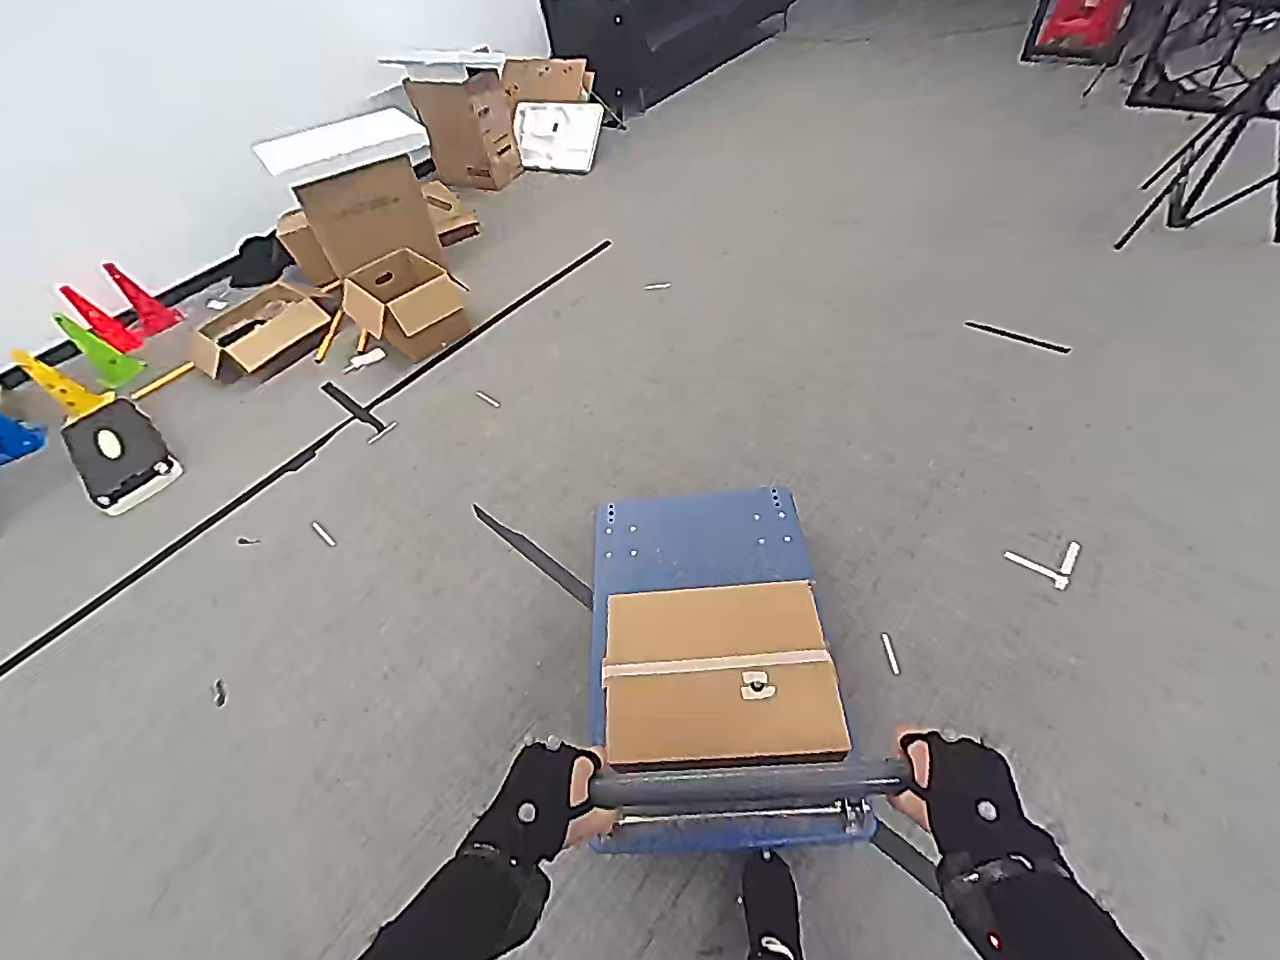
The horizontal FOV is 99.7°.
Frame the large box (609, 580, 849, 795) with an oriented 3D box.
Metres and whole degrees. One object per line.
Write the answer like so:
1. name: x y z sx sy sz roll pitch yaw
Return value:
1. large box: 0.155 0.430 1.104 0.408 0.320 0.320 -5 51 3
